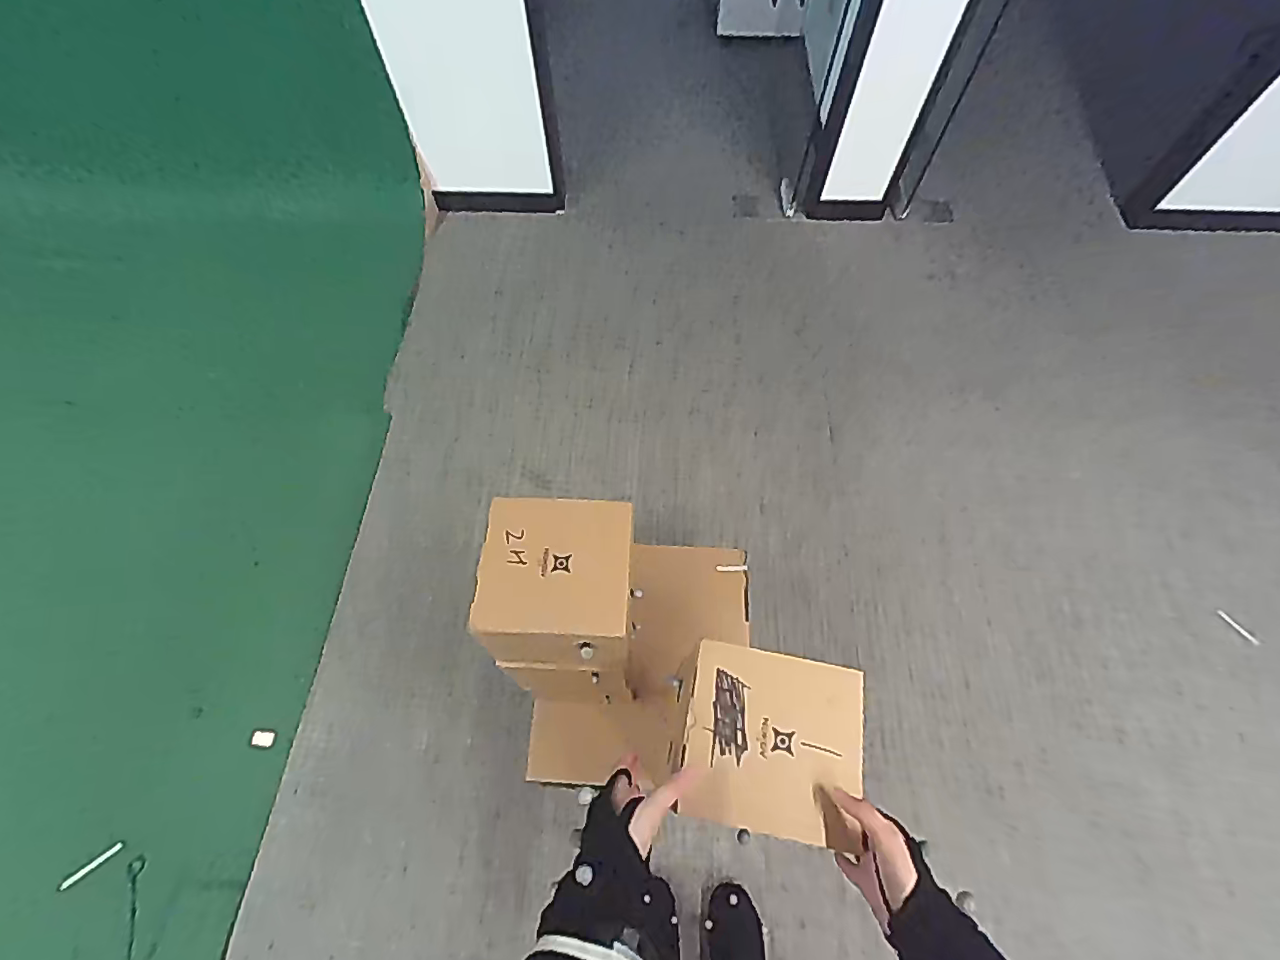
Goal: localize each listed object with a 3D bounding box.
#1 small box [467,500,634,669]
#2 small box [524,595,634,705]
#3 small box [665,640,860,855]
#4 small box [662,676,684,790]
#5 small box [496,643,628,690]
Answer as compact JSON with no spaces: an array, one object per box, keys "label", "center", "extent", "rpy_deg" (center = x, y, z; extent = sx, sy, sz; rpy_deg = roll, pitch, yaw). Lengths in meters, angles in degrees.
[{"label":"small box","center":[-0.099,0.140,0.696],"extent":[0.179,0.176,0.168],"rpy_deg":[2,59,2]},{"label":"small box","center":[-0.099,0.307,0.977],"extent":[0.179,0.176,0.168],"rpy_deg":[0,60,1]},{"label":"small box","center":[0.128,0.294,0.606],"extent":[0.179,0.176,0.168],"rpy_deg":[11,63,4]},{"label":"small box","center":[0.127,0.440,0.901],"extent":[0.168,0.176,0.179],"rpy_deg":[6,61,3]},{"label":"small box","center":[-0.107,0.225,0.837],"extent":[0.179,0.176,0.168],"rpy_deg":[2,60,0]}]
